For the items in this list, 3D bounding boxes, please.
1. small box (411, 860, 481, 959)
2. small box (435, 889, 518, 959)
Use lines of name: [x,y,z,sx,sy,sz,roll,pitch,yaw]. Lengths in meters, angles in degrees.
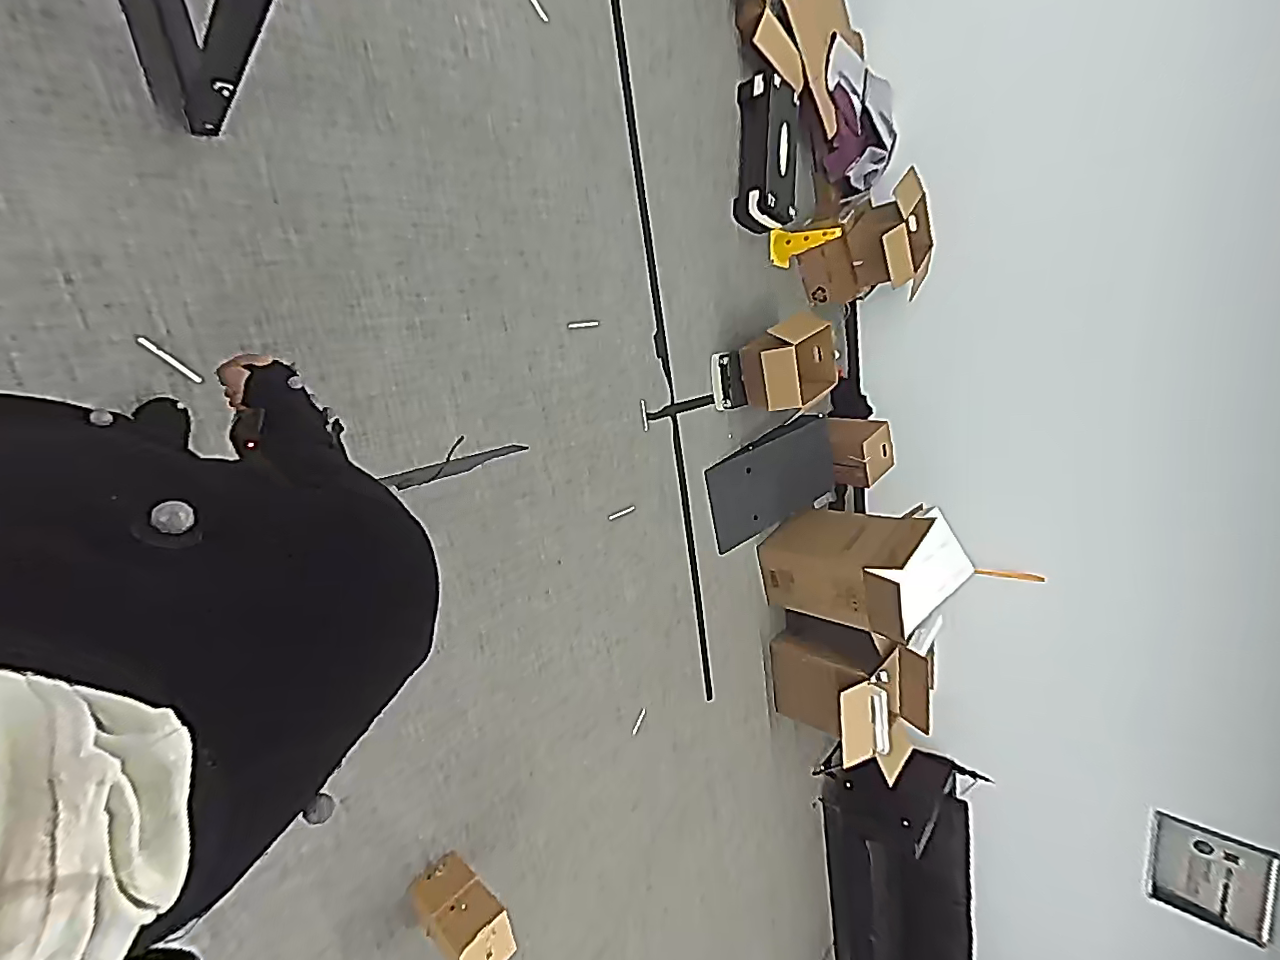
small box: [-0.627,1.412,1.782,0.168,0.176,0.179,-23,110,-44]
small box: [-0.507,1.431,1.671,0.168,0.176,0.179,-23,110,-44]
